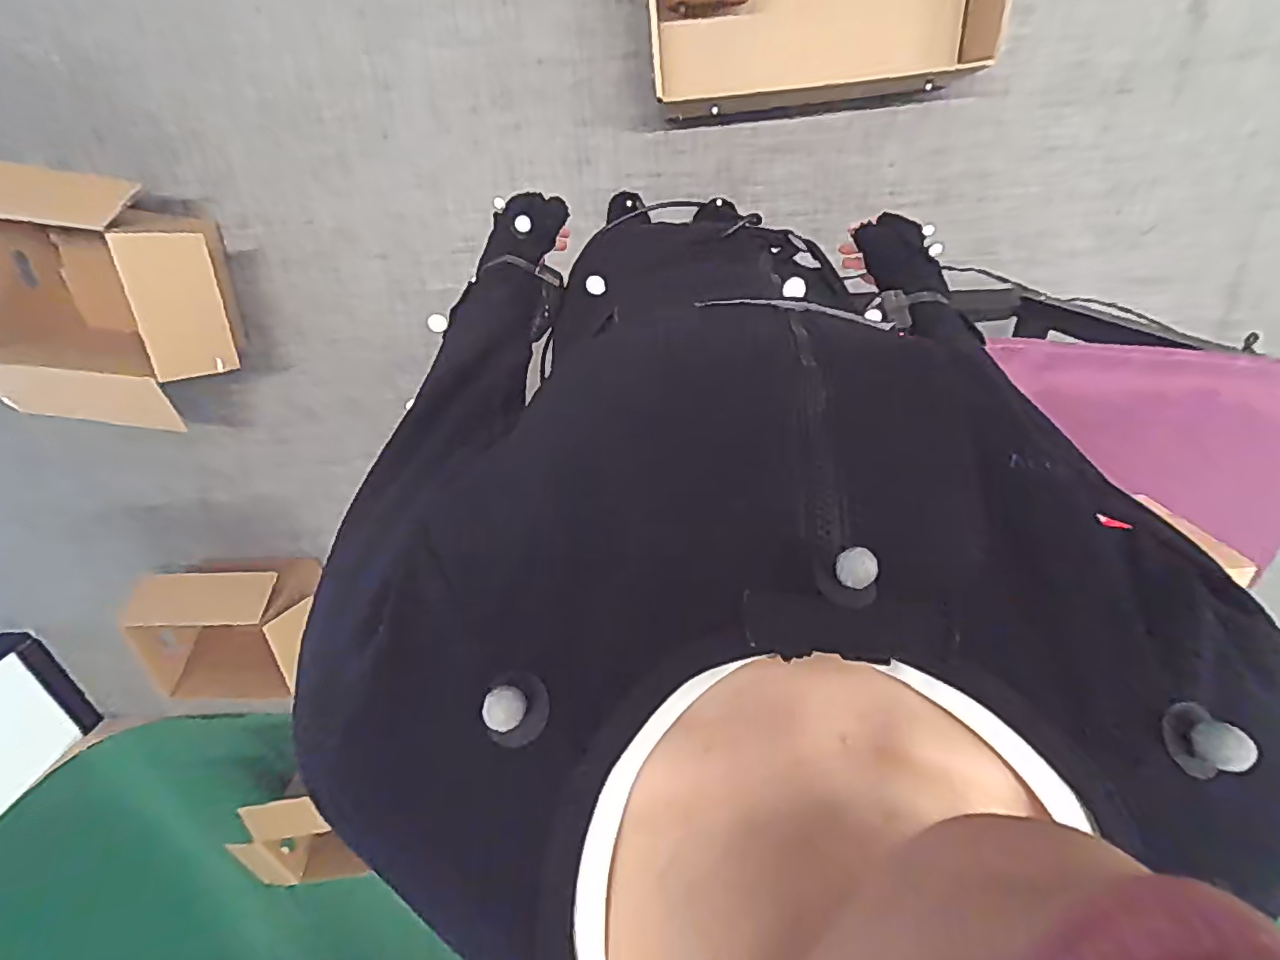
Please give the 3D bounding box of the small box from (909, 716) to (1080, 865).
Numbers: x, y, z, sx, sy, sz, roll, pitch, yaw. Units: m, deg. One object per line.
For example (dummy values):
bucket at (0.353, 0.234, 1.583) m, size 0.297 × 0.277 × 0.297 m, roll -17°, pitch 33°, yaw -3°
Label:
small box at (0.594, 0.532, 0.936) m, size 0.179 × 0.176 × 0.168 m, roll -3°, pitch 118°, yaw 3°
